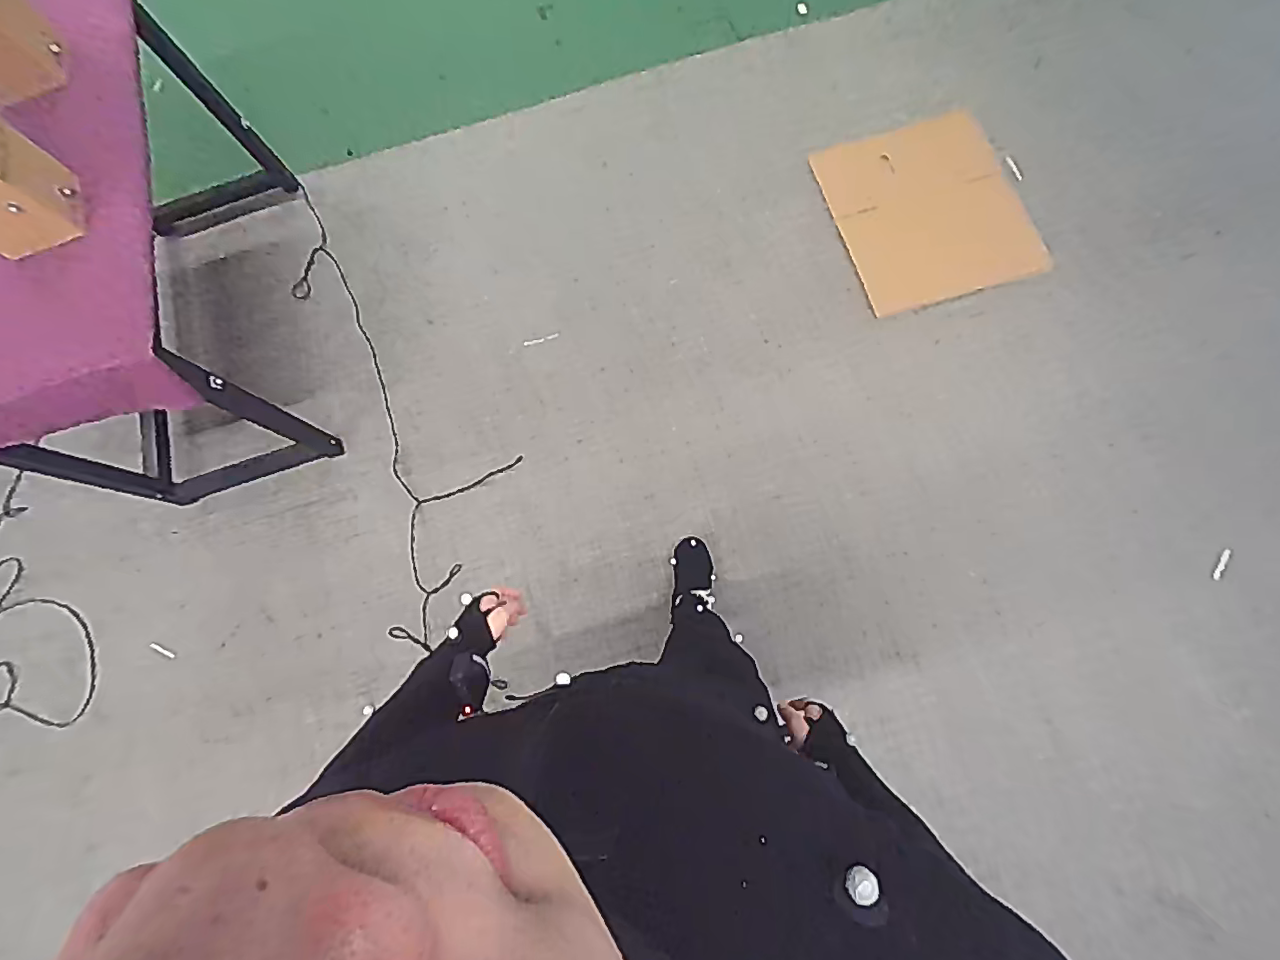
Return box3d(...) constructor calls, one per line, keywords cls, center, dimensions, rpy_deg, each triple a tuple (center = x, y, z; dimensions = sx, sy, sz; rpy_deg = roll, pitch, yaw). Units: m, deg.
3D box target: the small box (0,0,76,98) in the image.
box3d(cls="small box", center=(-1.480, -1.035, 1.252), dimensions=(0.179, 0.176, 0.168), rpy_deg=(-15, 77, 1))
